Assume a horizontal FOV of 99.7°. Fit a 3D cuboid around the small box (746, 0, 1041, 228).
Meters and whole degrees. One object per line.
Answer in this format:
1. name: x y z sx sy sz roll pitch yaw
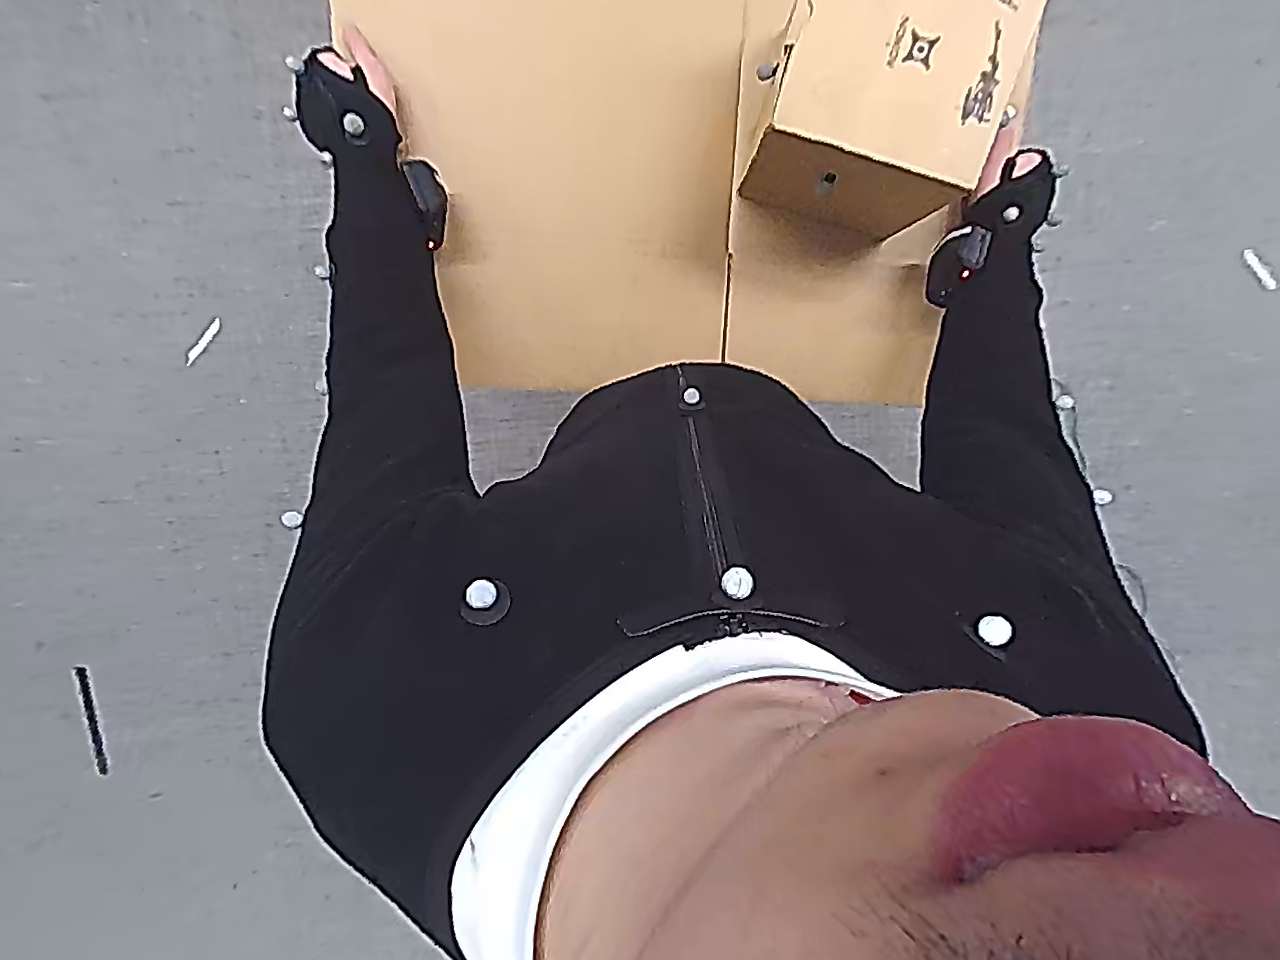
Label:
1. small box: 0.210 -0.354 0.496 0.179 0.176 0.168 16 101 -1
